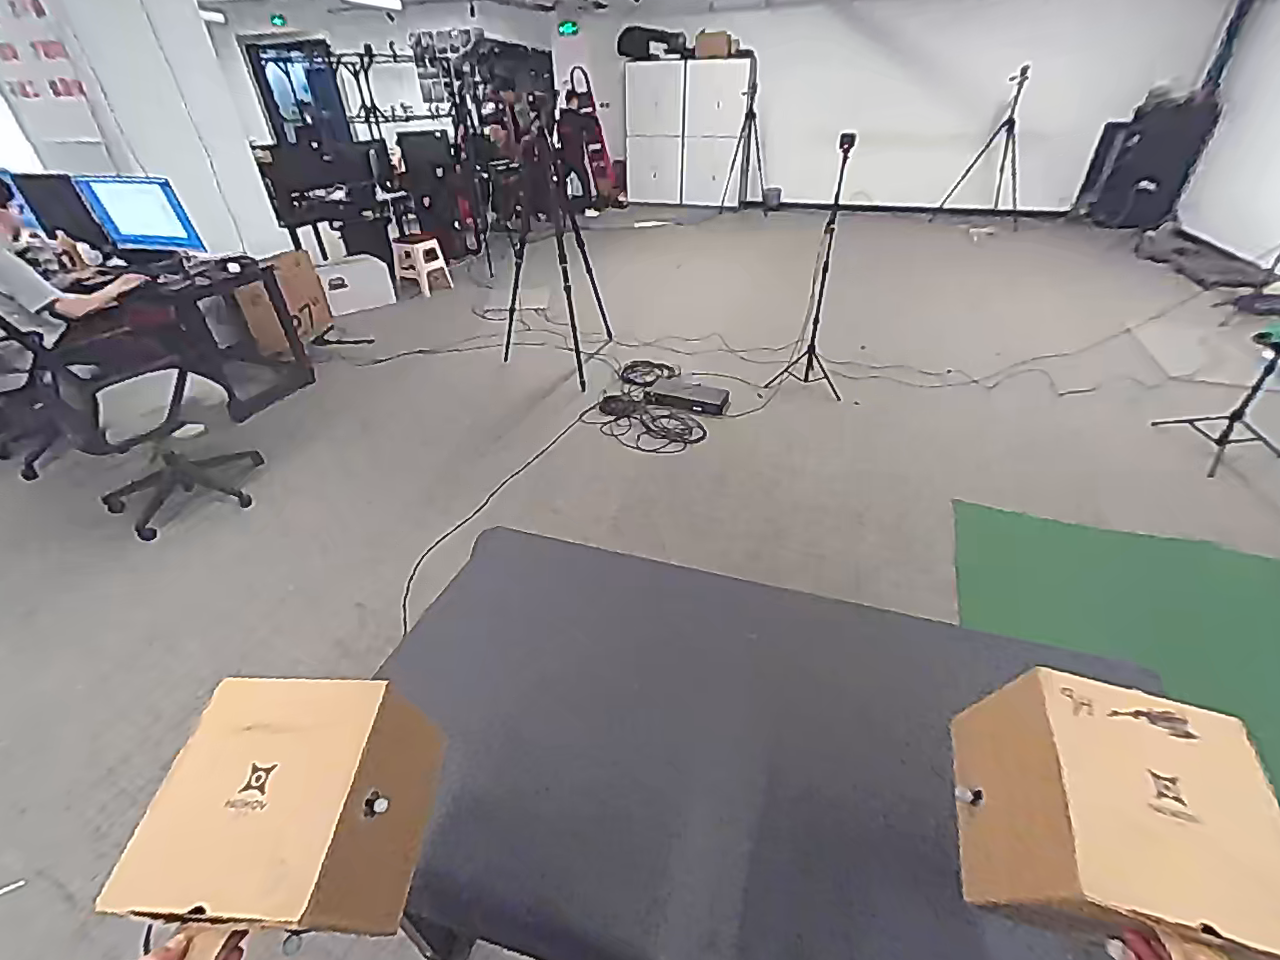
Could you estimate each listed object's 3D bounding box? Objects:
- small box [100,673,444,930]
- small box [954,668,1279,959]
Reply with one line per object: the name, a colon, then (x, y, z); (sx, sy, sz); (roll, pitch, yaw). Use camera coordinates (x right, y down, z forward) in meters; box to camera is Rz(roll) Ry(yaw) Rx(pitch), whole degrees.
small box: (-0.304, 0.297, 0.500); (0.168, 0.176, 0.179); (0, 48, 5)
small box: (0.407, 0.300, 0.481); (0.168, 0.176, 0.179); (14, 53, 8)
